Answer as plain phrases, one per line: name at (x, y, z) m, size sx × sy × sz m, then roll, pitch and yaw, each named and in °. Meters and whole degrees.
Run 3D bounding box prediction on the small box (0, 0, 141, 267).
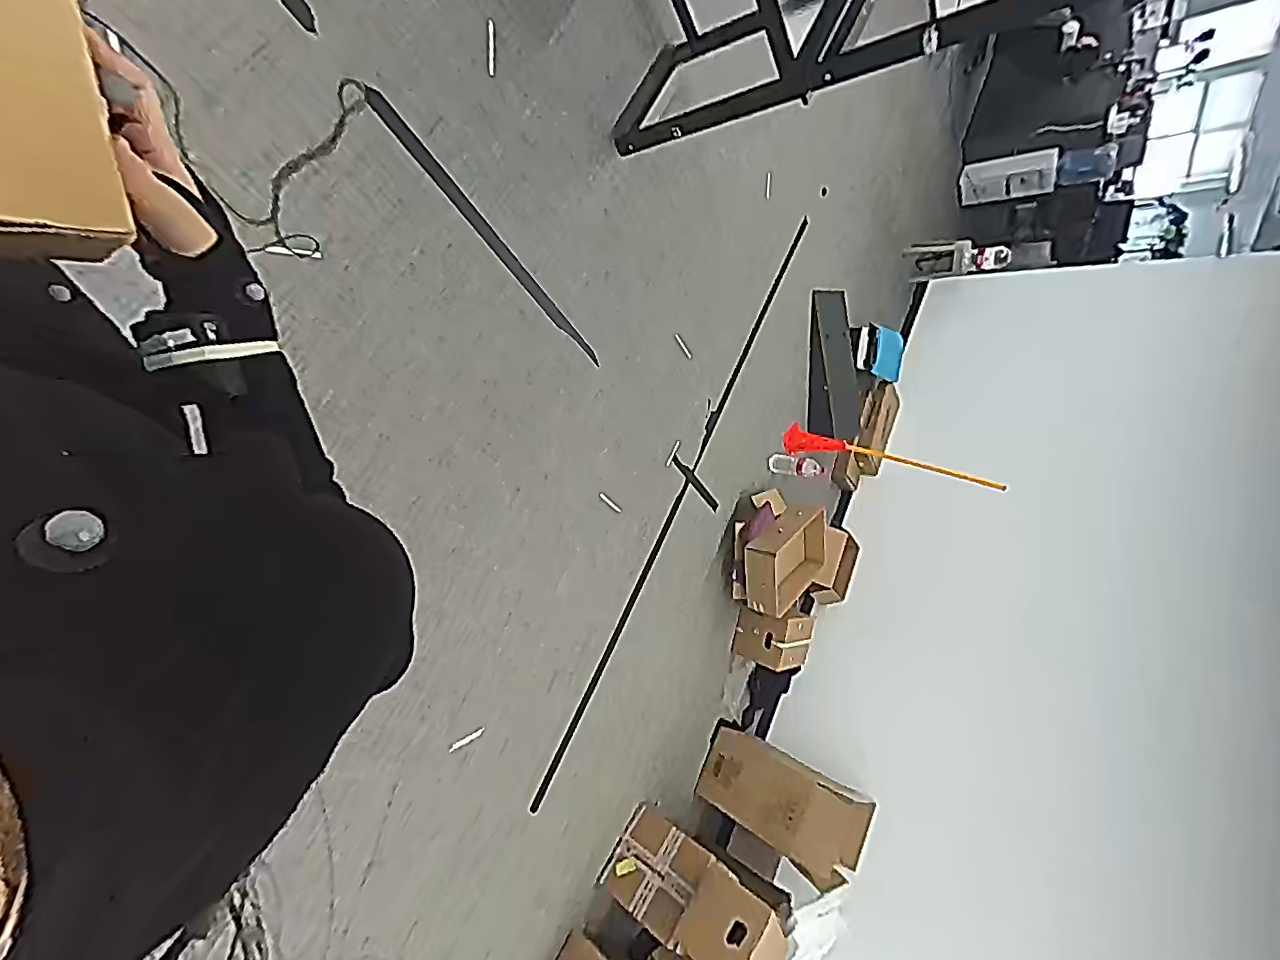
small box at (-0.376, -0.204, 0.254) m, size 0.168 × 0.176 × 0.179 m, roll -18°, pitch 114°, yaw -45°
